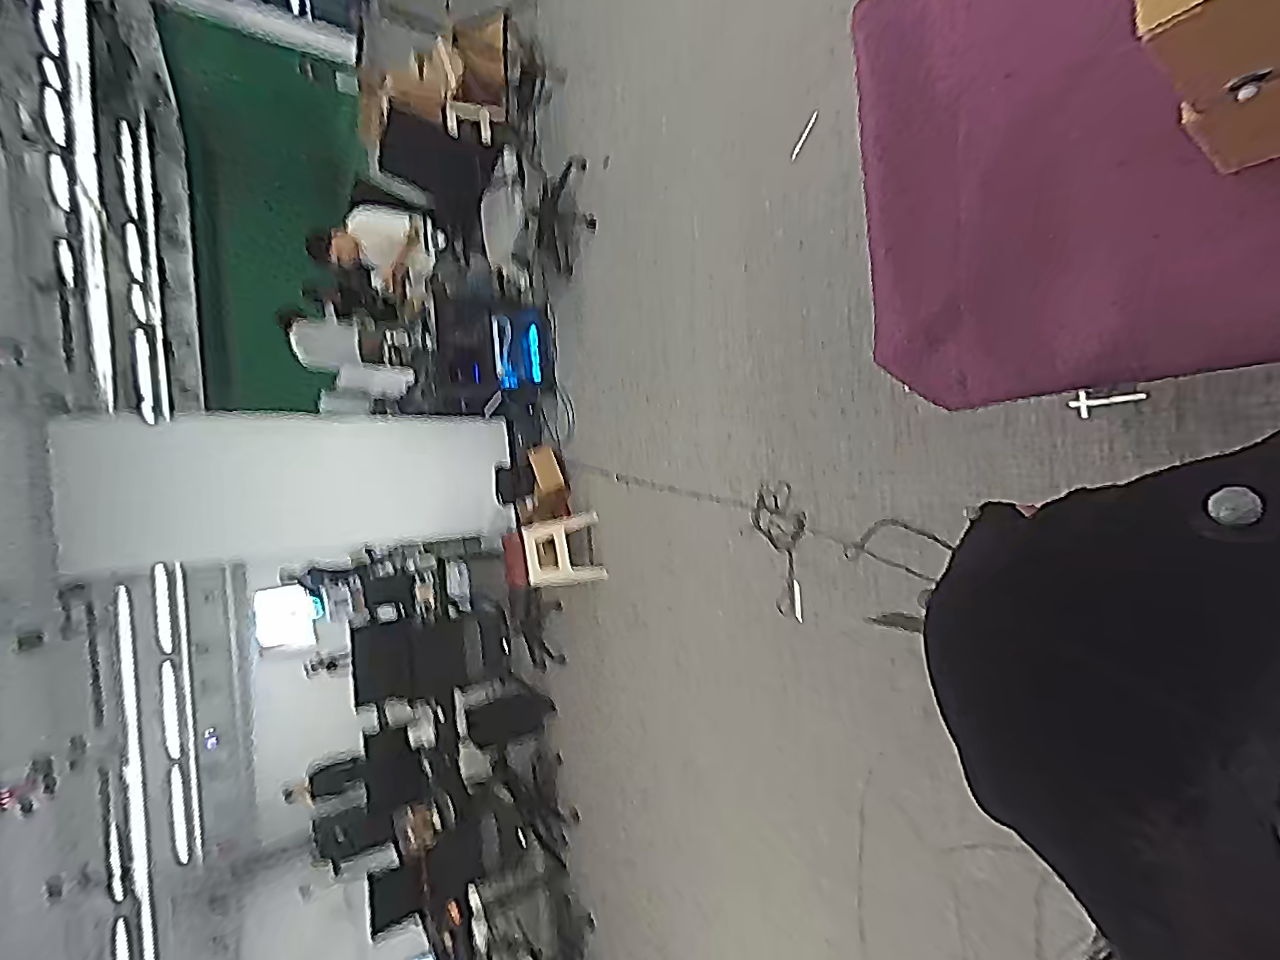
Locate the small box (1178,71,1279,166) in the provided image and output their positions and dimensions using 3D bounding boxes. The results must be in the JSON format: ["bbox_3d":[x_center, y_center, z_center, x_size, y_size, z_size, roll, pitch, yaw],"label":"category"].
[{"bbox_3d":[0.567,-0.389,0.431,0.179,0.176,0.168,-3,91,57],"label":"small box"}]

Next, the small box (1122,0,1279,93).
[{"bbox_3d":[0.431,-0.386,0.339,0.168,0.176,0.179,-6,88,56],"label":"small box"}]
